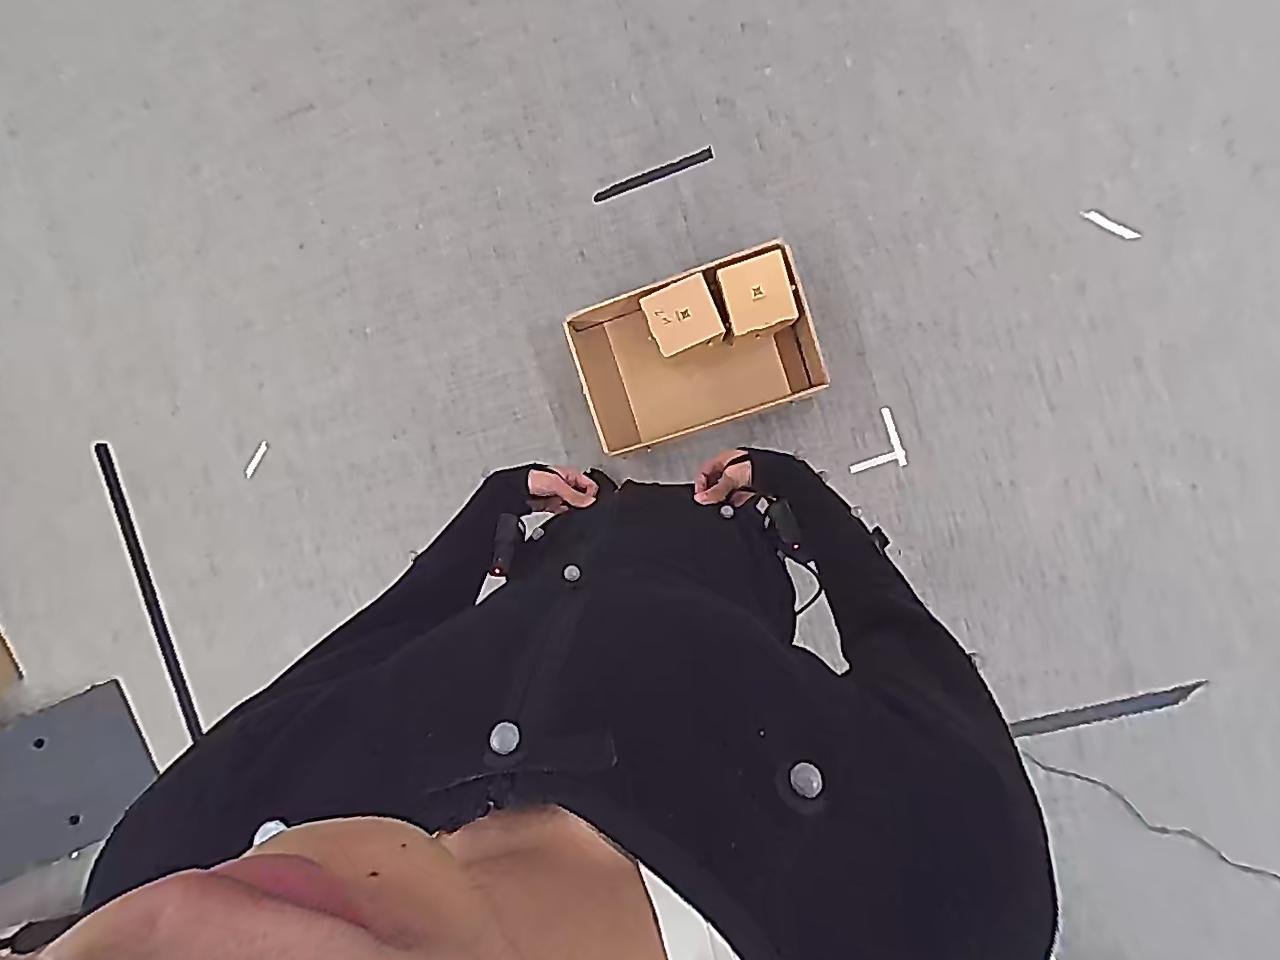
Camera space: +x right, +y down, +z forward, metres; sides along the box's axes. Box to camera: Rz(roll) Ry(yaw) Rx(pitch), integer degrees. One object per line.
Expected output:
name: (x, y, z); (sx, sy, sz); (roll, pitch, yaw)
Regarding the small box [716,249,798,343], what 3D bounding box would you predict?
small box: (0.303, -0.481, 1.439); (0.168, 0.176, 0.179); (-17, 95, 8)
